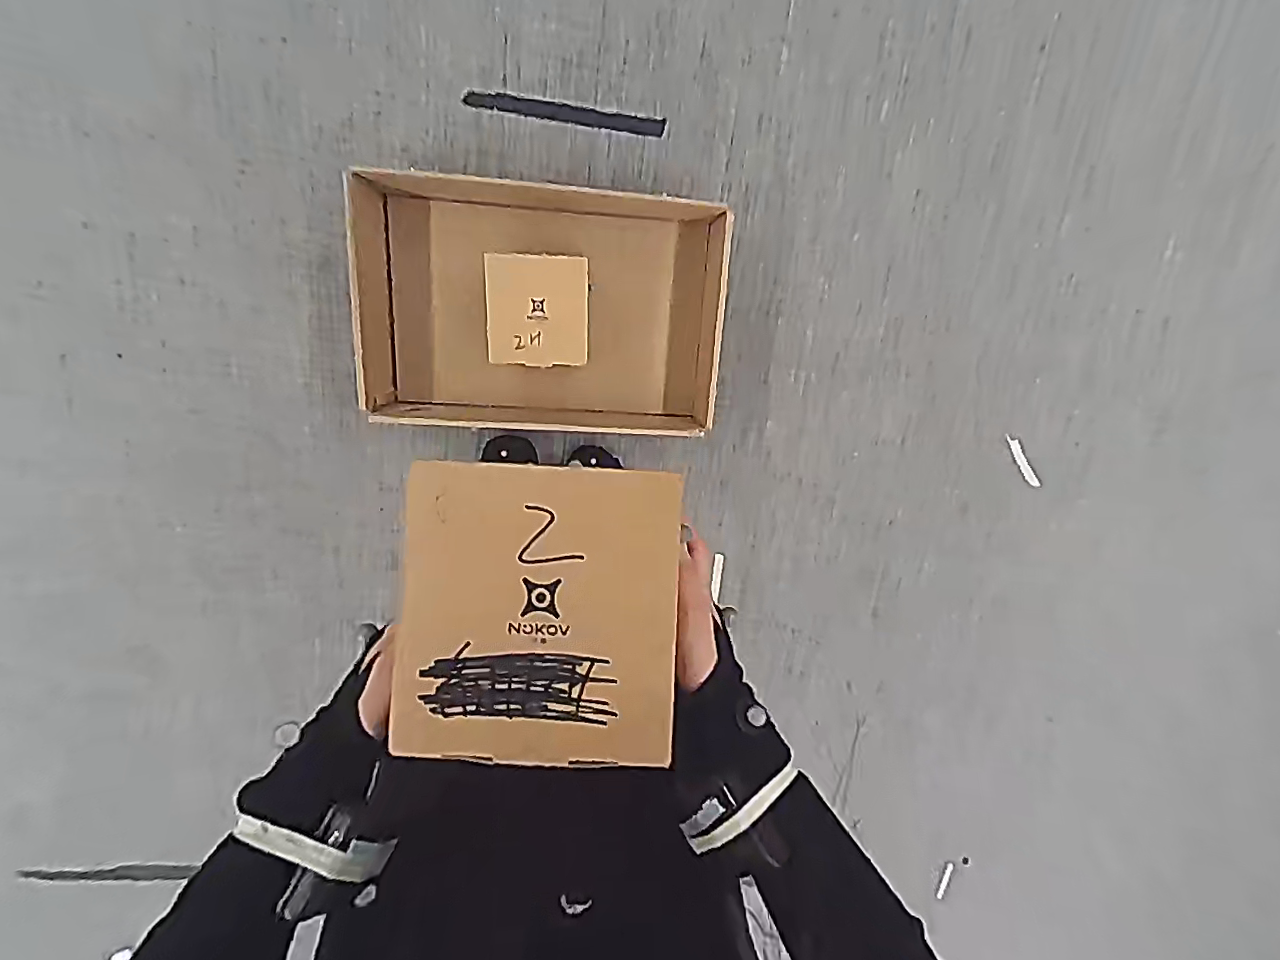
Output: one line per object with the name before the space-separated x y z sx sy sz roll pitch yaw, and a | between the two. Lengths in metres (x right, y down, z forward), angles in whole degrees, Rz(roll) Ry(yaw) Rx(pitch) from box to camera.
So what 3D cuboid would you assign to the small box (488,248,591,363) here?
small box | -0.172 -0.304 0.960 0.168 0.176 0.179 0 106 -6
